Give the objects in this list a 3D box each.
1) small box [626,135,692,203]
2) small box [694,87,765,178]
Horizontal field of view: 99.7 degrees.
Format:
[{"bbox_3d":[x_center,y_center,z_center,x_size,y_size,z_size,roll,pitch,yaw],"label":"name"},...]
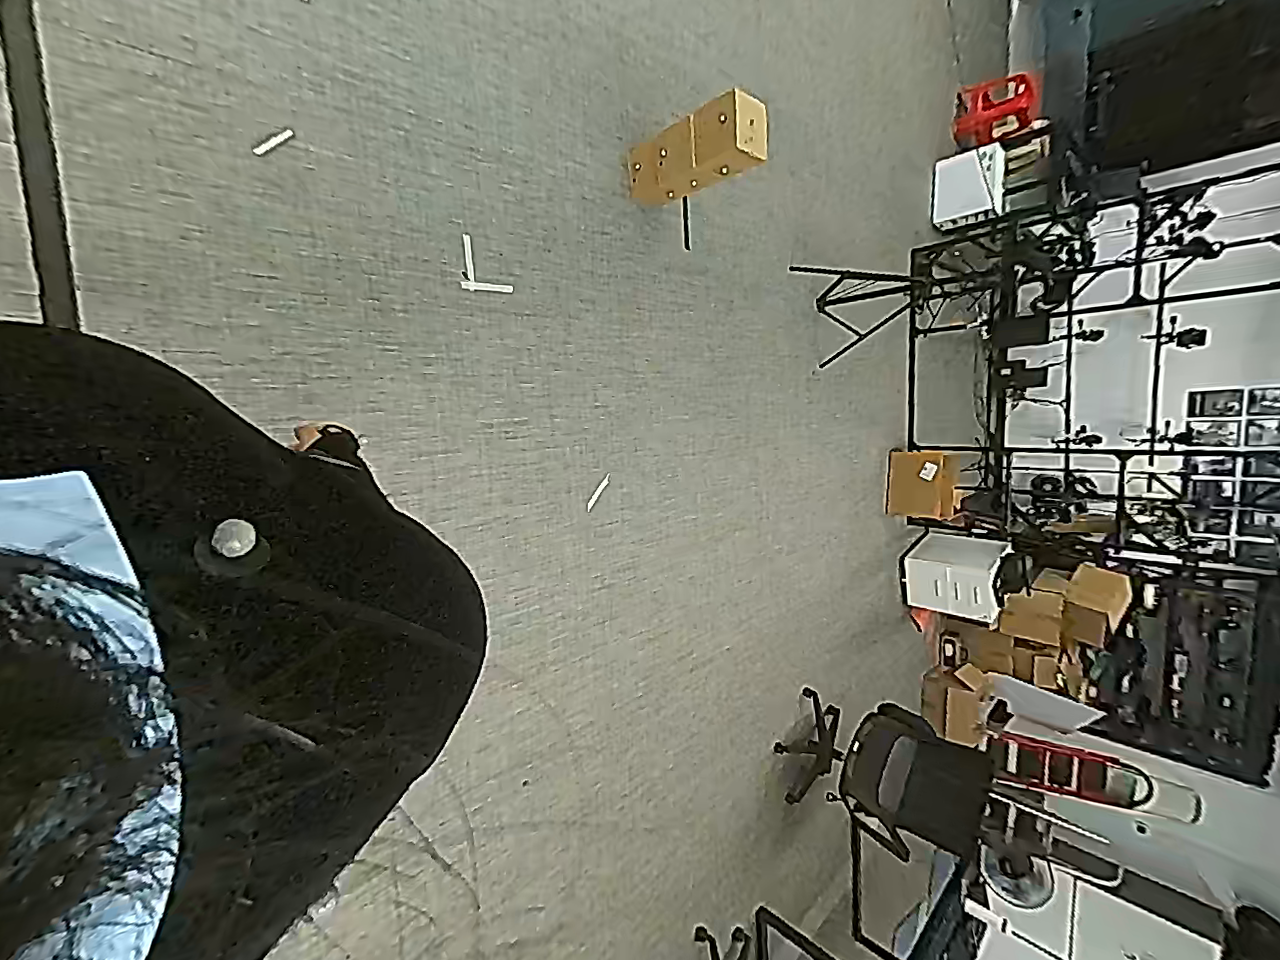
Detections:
[{"bbox_3d":[0.071,-1.146,2.009,0.179,0.176,0.168,-17,105,-42],"label":"small box"},{"bbox_3d":[0.290,-1.124,1.764,0.168,0.176,0.179,-10,100,-42],"label":"small box"}]
